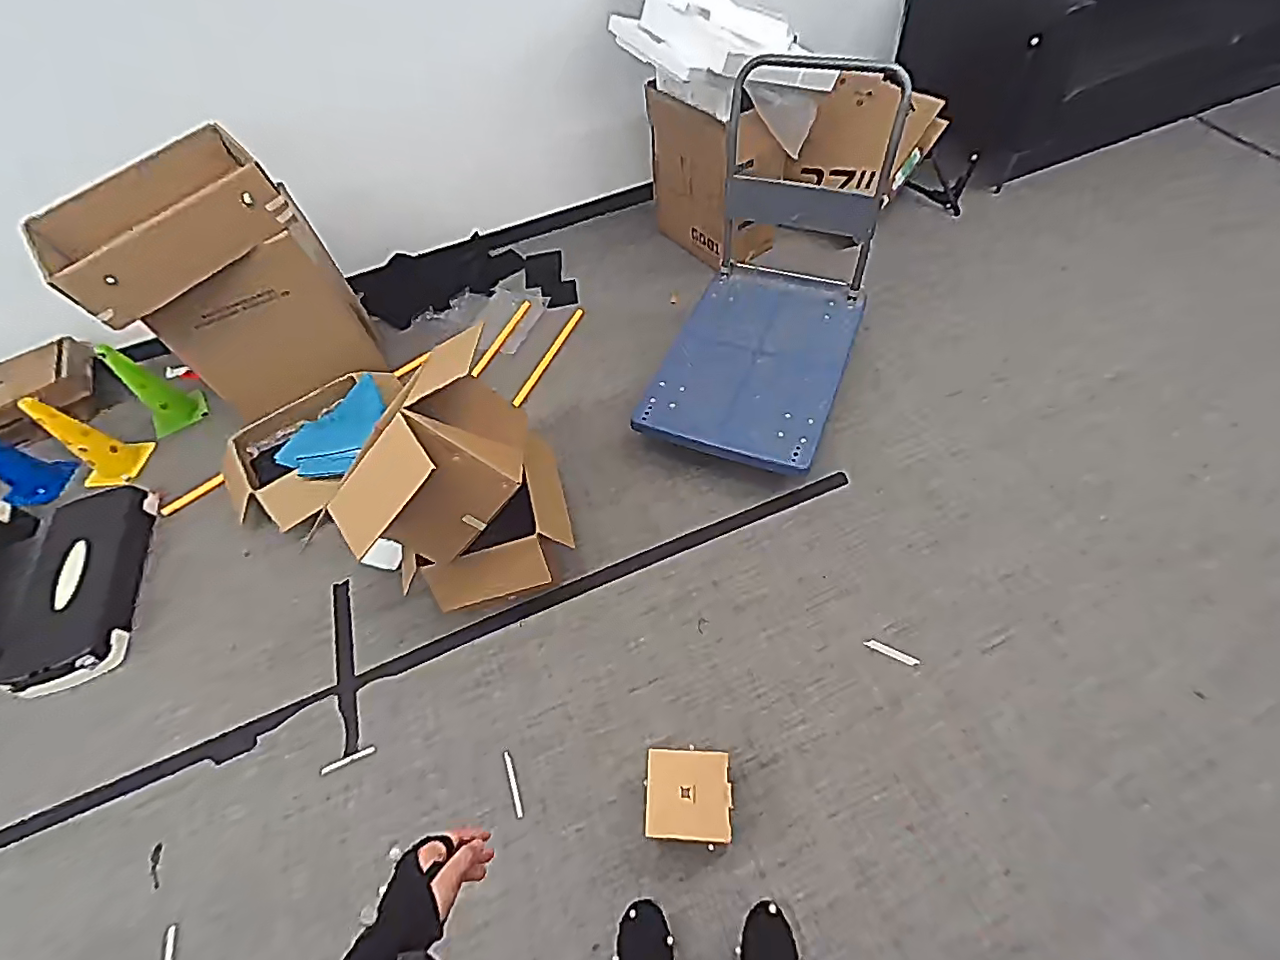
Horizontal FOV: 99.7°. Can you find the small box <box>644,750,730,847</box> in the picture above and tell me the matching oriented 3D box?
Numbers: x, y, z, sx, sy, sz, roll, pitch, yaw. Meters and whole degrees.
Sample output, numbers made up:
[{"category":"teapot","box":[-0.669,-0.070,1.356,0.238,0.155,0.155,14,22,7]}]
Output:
[{"category":"small box","box":[0.106,0.708,1.196,0.179,0.176,0.168,-1,54,6]}]
